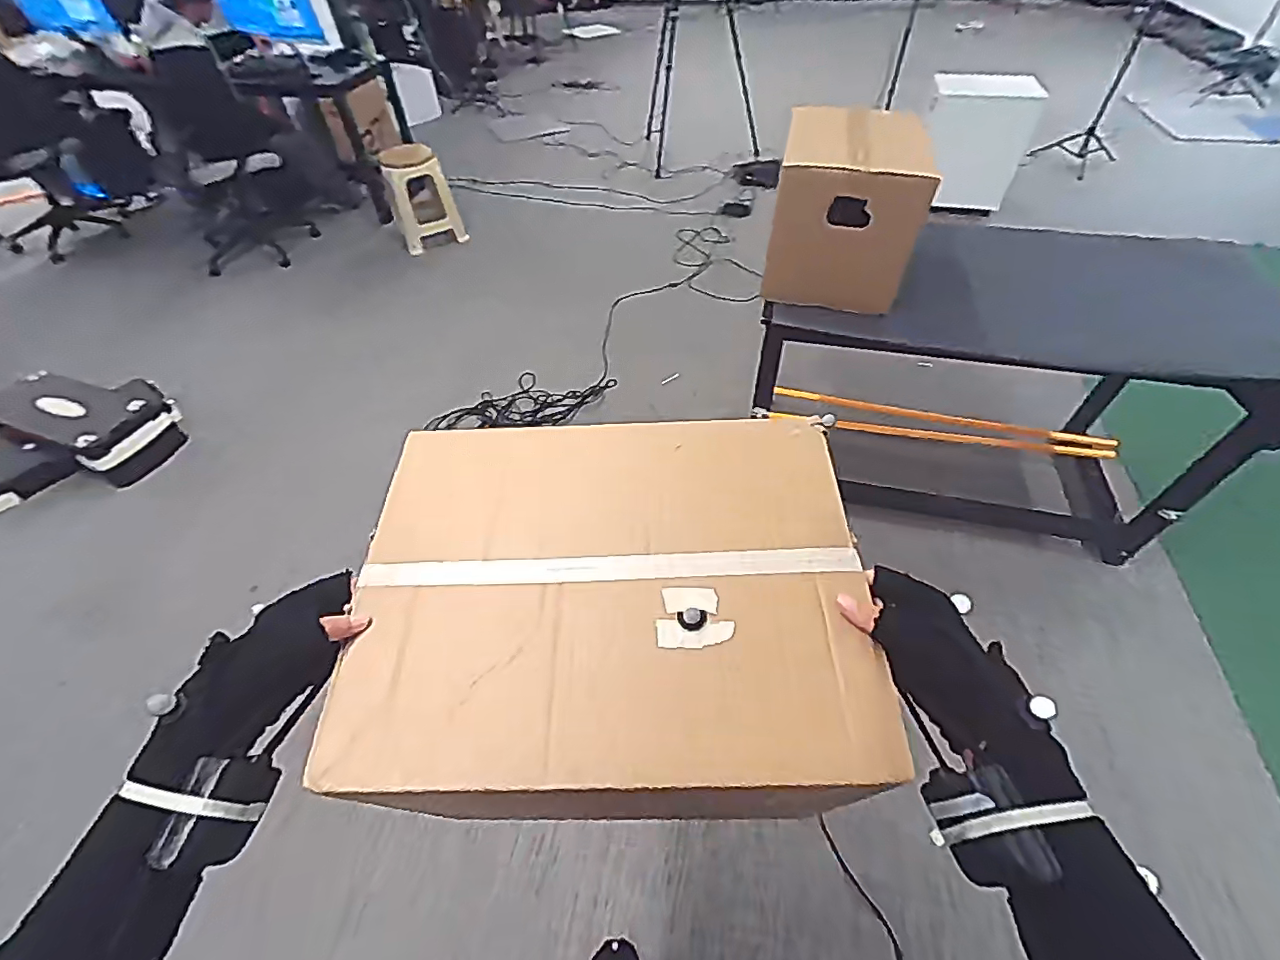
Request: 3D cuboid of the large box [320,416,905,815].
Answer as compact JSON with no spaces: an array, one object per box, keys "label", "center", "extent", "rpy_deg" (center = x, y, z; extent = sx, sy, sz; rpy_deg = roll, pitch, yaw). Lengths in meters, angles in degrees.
[{"label":"large box","center":[-0.019,0.155,0.567],"extent":[0.408,0.320,0.320],"rpy_deg":[-1,56,1]}]
